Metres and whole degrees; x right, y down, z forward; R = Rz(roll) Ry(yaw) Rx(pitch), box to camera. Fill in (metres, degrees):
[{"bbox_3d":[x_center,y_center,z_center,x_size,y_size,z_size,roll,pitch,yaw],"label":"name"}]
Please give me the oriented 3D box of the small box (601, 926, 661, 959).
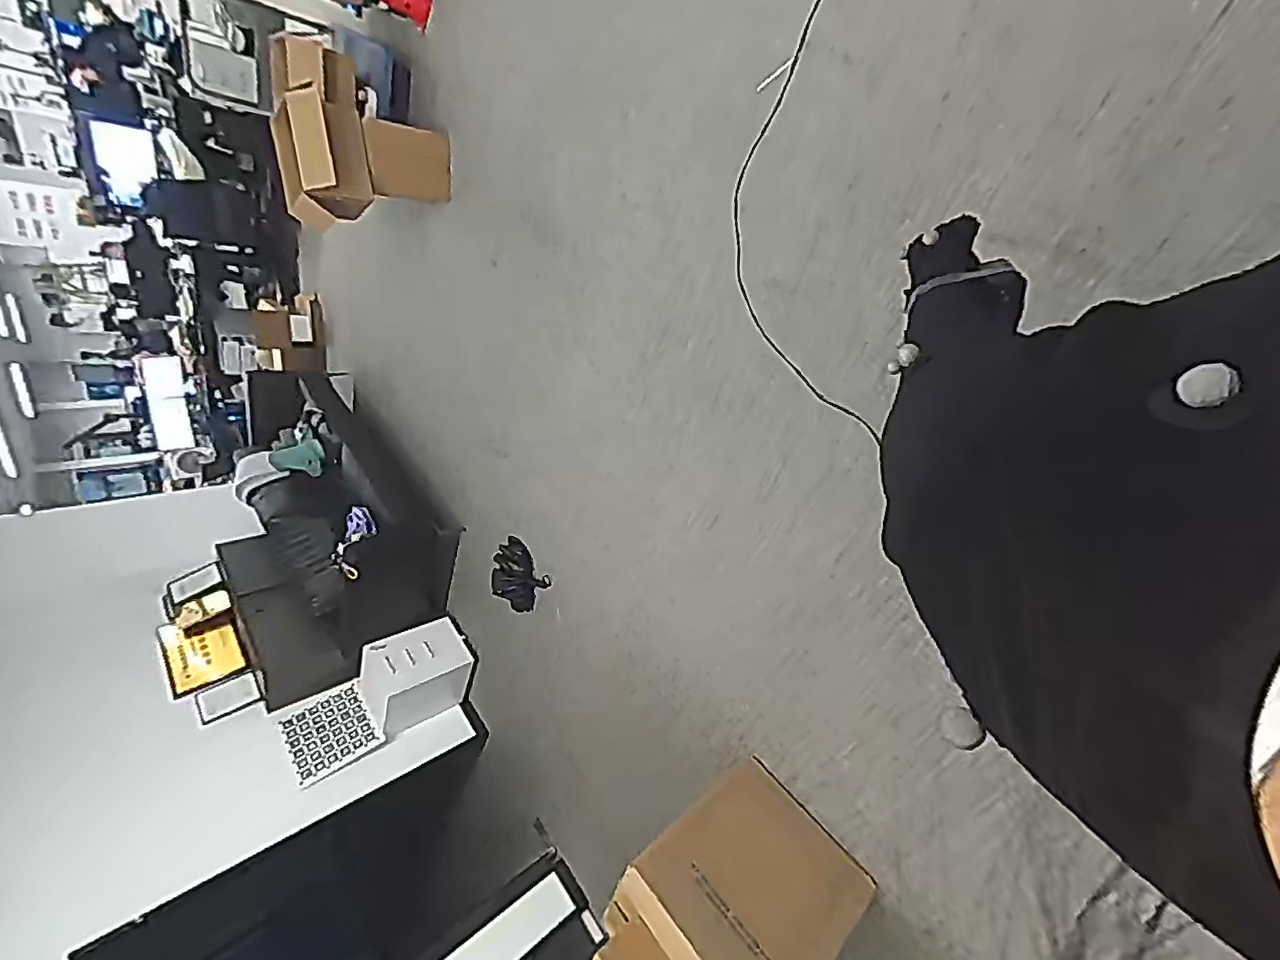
[{"bbox_3d":[-0.027,1.408,1.499,0.179,0.176,0.168,36,117,37],"label":"small box"}]
